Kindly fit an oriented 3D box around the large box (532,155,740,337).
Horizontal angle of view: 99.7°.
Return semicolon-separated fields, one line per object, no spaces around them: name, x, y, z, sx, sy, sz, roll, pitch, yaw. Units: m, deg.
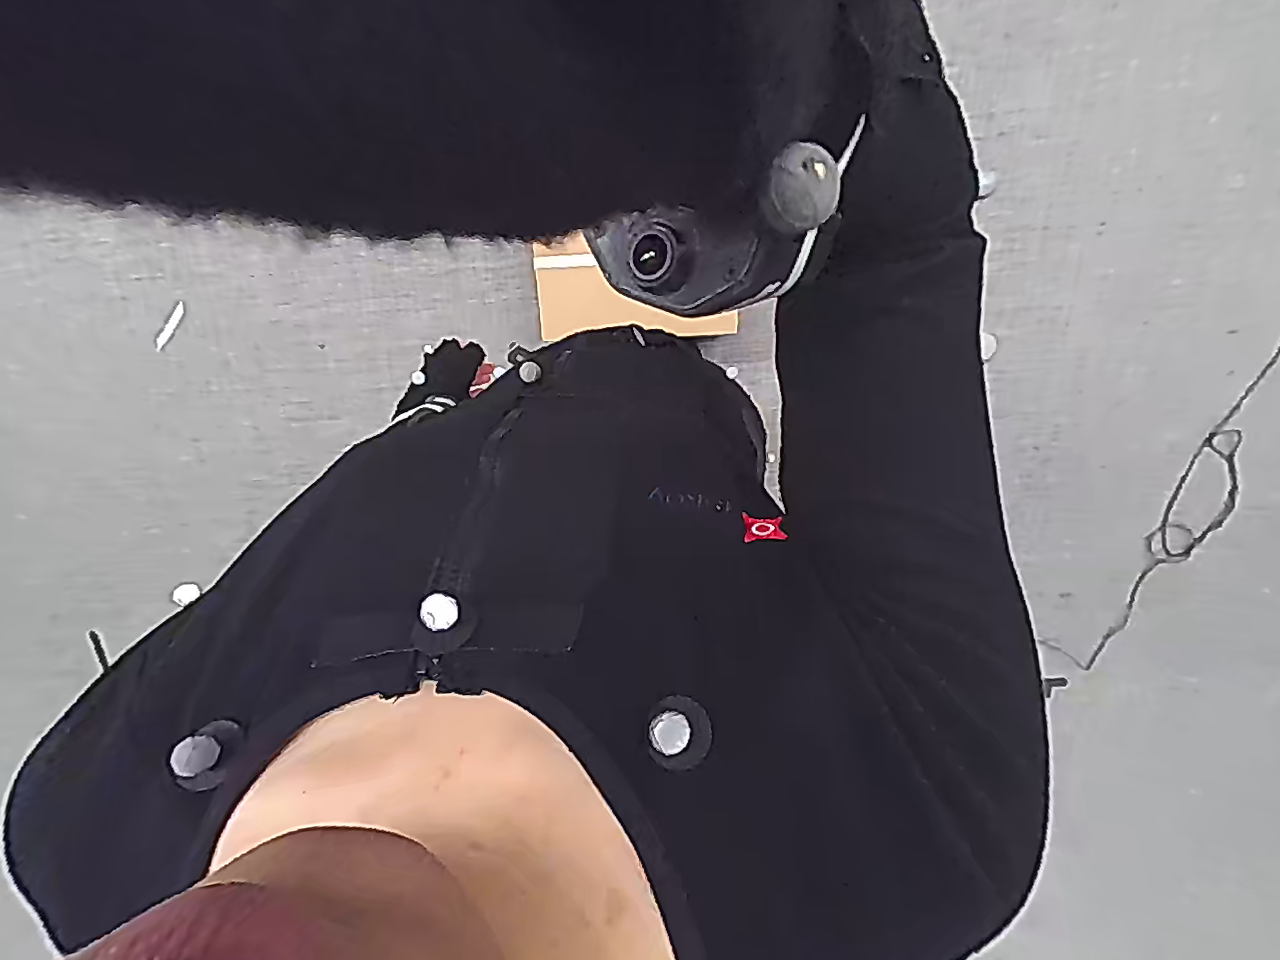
large box;0.002;-0.494;1.214;0.408;0.320;0.320;-2;105;4
